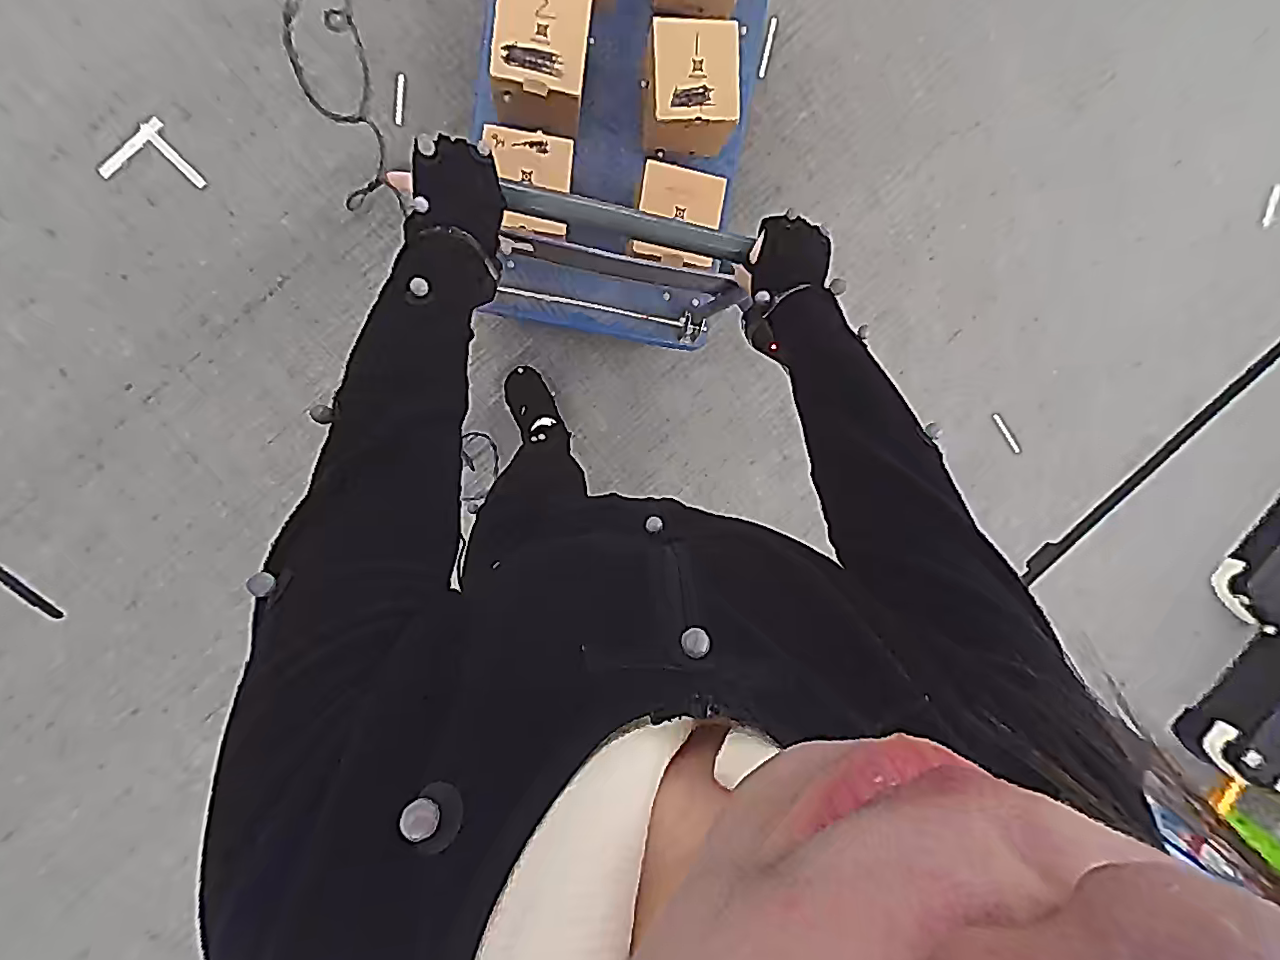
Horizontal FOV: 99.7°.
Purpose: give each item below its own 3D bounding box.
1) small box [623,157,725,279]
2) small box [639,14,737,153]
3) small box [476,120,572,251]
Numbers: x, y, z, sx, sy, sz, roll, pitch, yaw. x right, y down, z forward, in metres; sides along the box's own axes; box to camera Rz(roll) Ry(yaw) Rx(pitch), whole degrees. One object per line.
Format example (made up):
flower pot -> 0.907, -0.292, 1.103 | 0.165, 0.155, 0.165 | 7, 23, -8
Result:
small box -> 0.063, -0.539, 1.141 | 0.168, 0.176, 0.179 | 8, 98, -11
small box -> 0.093, -0.792, 1.101 | 0.168, 0.176, 0.179 | -4, 99, -9
small box -> -0.228, -0.575, 1.085 | 0.168, 0.176, 0.179 | 5, 99, -11
